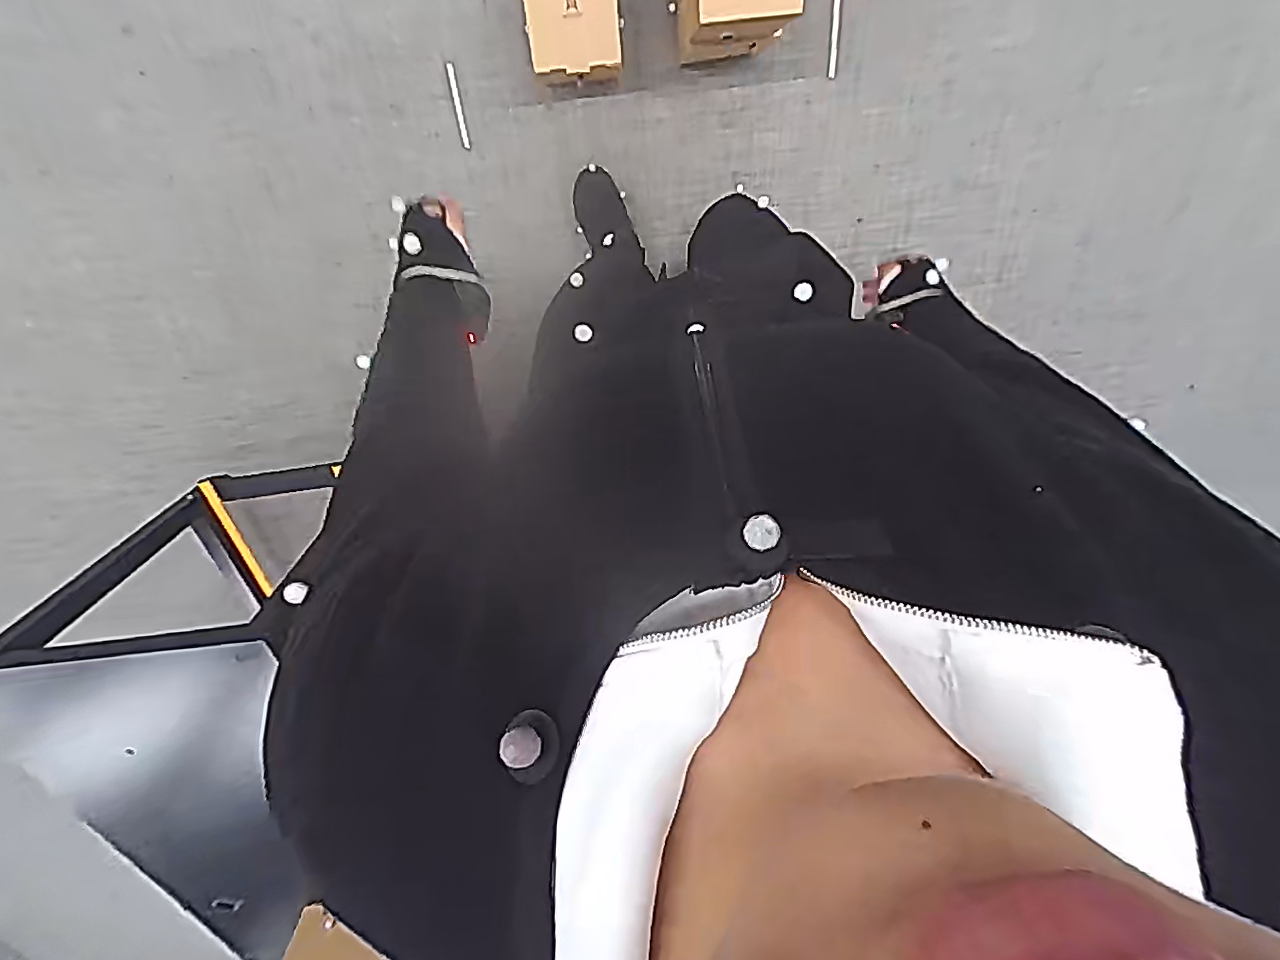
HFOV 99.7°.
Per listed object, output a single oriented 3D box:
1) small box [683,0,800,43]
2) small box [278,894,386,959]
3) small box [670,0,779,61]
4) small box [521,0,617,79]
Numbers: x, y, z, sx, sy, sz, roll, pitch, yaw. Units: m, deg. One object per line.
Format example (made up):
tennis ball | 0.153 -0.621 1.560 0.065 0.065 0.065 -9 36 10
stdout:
small box | 0.159 -0.841 0.877 0.168 0.176 0.179 -6 122 0
small box | -0.759 1.162 1.337 0.168 0.176 0.179 -6 119 0
small box | 0.155 -0.914 1.022 0.179 0.176 0.168 -8 121 0
small box | -0.130 -0.877 1.026 0.168 0.176 0.179 -5 121 0
